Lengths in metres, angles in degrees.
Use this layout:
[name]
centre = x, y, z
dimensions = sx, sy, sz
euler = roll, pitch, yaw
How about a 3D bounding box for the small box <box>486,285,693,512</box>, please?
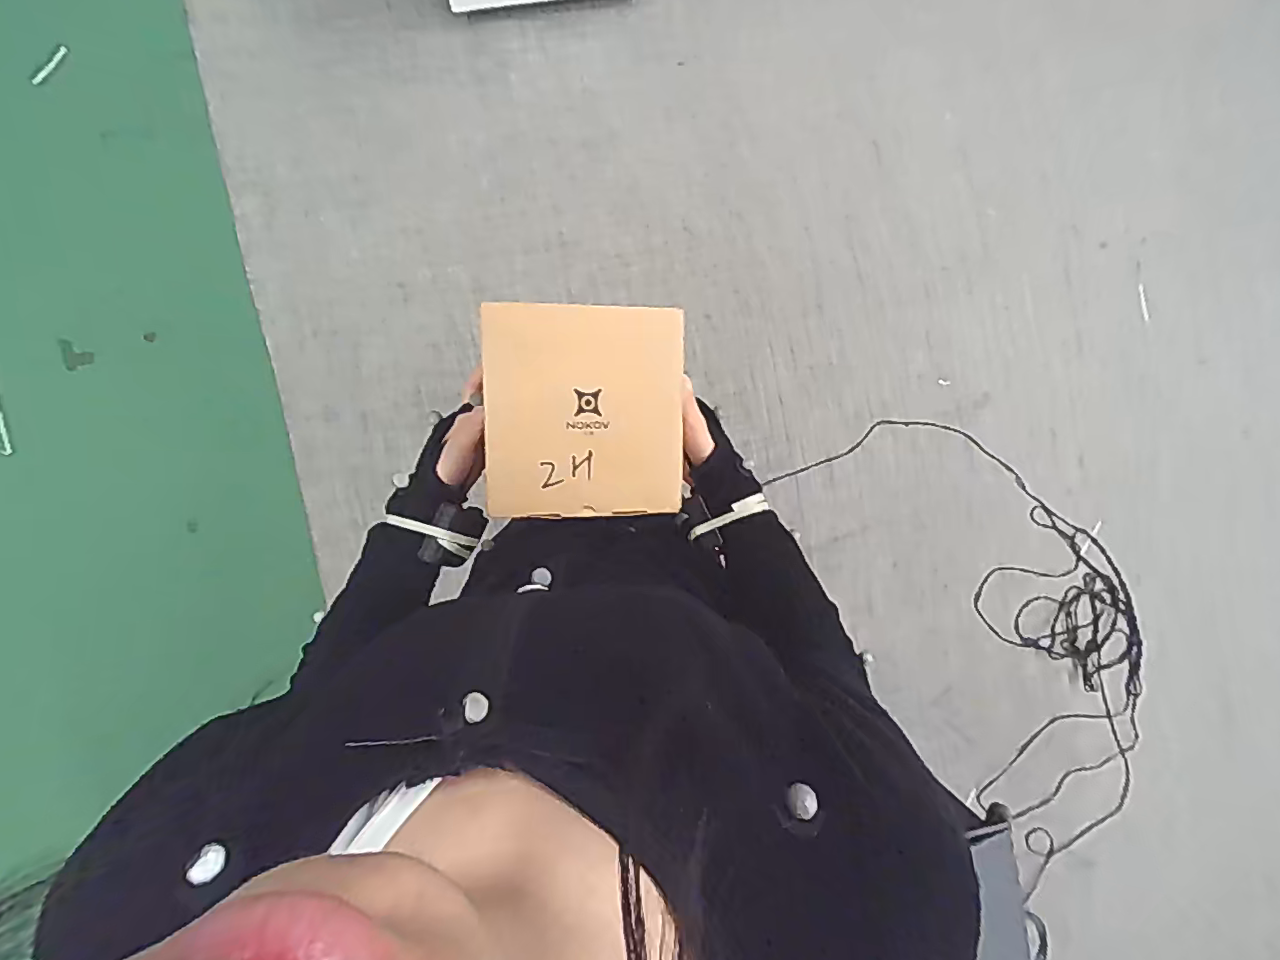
[small box]
centre = -0.053, -0.069, 0.507
dimensions = 0.168, 0.176, 0.179
euler = 0, 97, -10
